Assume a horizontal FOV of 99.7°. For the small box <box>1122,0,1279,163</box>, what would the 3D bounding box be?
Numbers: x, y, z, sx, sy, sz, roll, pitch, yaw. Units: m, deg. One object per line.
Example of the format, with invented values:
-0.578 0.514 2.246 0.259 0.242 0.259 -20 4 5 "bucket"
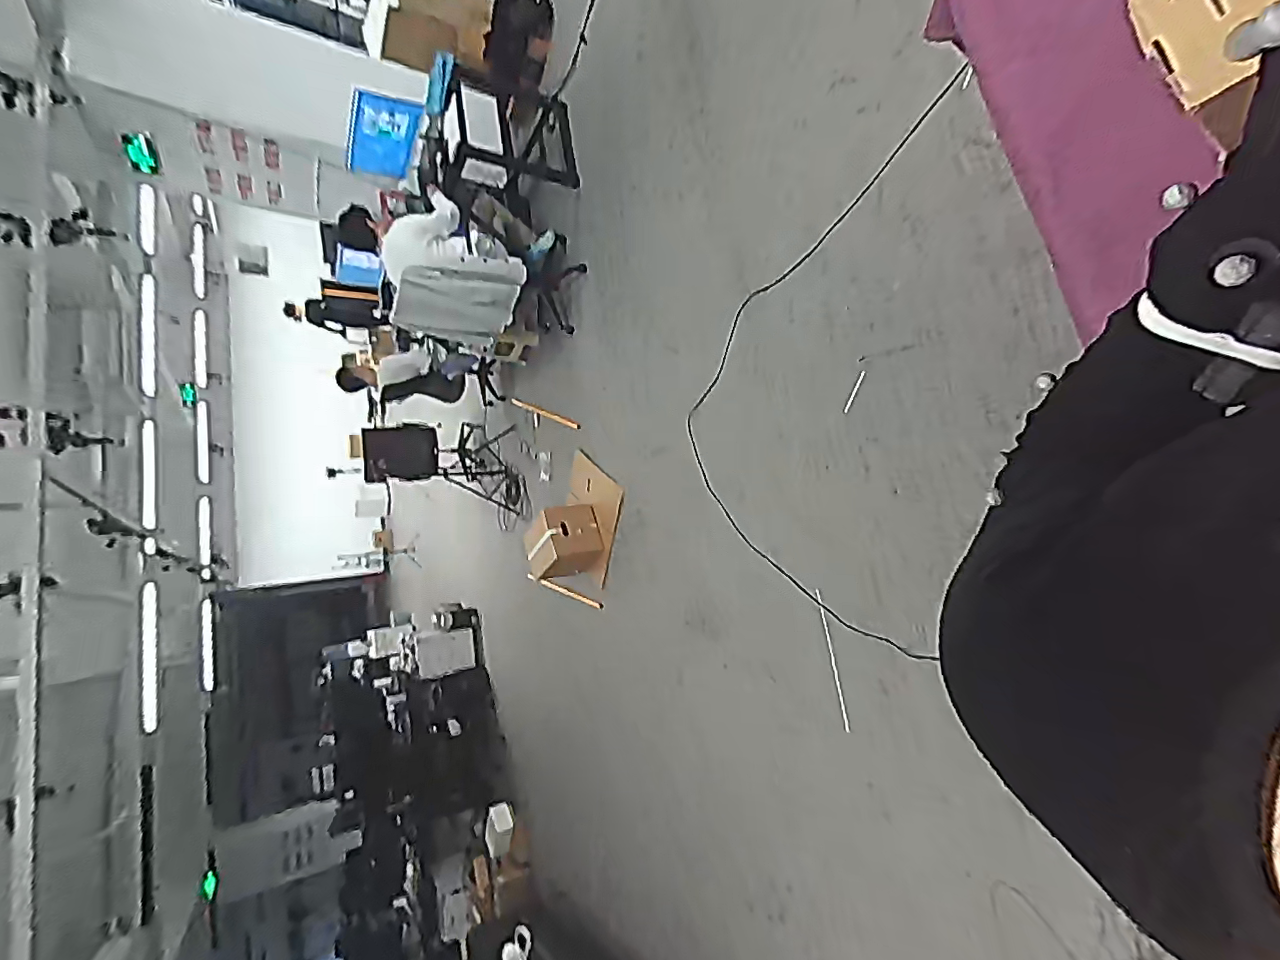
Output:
0.445 -0.344 0.341 0.179 0.176 0.168 -28 69 54 "small box"
